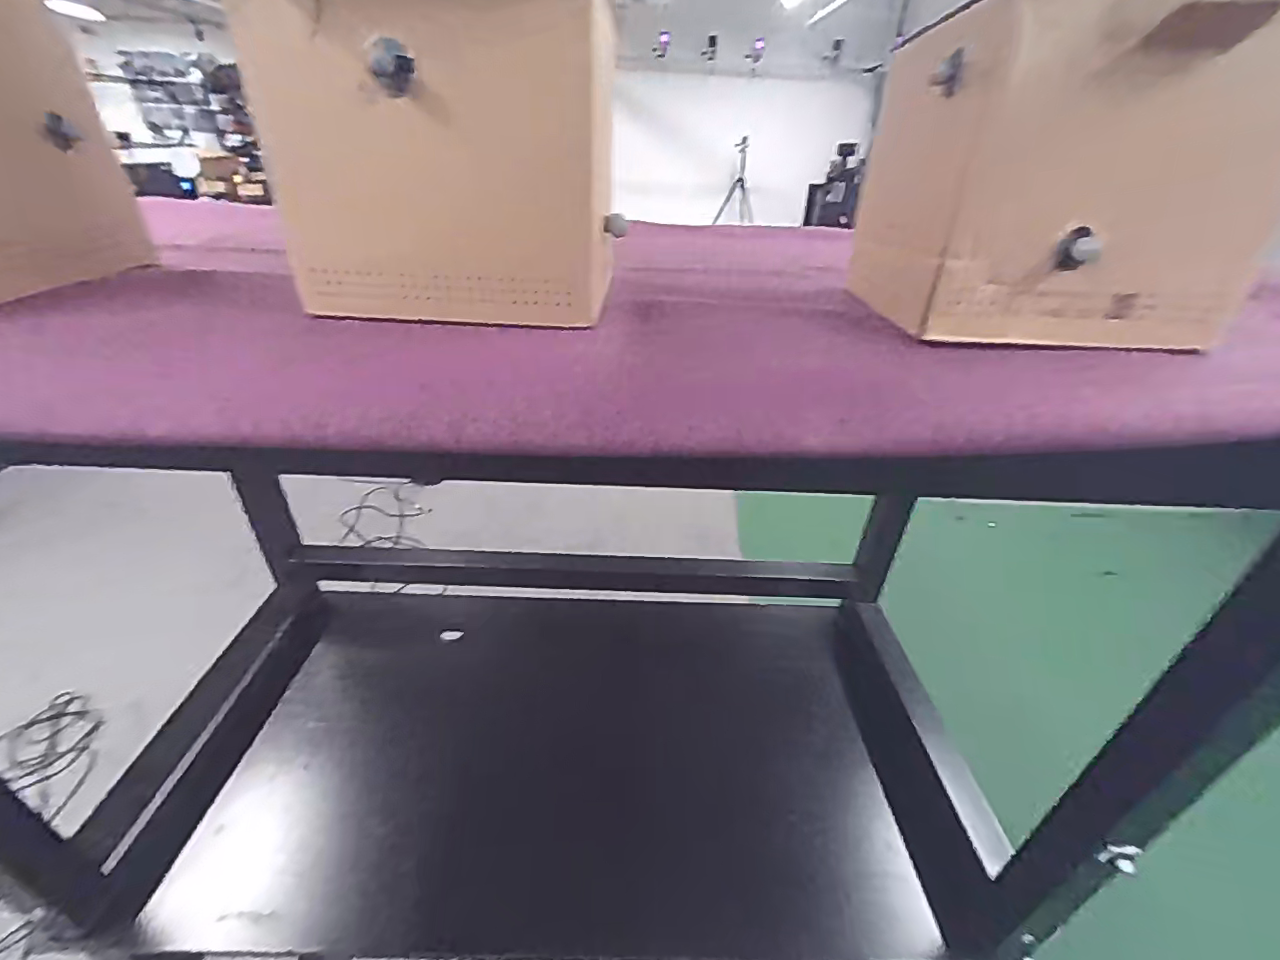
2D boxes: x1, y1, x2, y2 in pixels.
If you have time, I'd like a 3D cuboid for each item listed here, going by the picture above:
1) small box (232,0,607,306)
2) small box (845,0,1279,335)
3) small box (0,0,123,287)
[{"bbox_3d":[-0.114,-0.214,0.346,0.179,0.176,0.168,3,31,-1],"label":"small box"},{"bbox_3d":[0.246,-0.200,0.345,0.168,0.176,0.179,2,30,2],"label":"small box"},{"bbox_3d":[-0.462,-0.204,0.309,0.168,0.176,0.179,-1,33,-4],"label":"small box"}]
